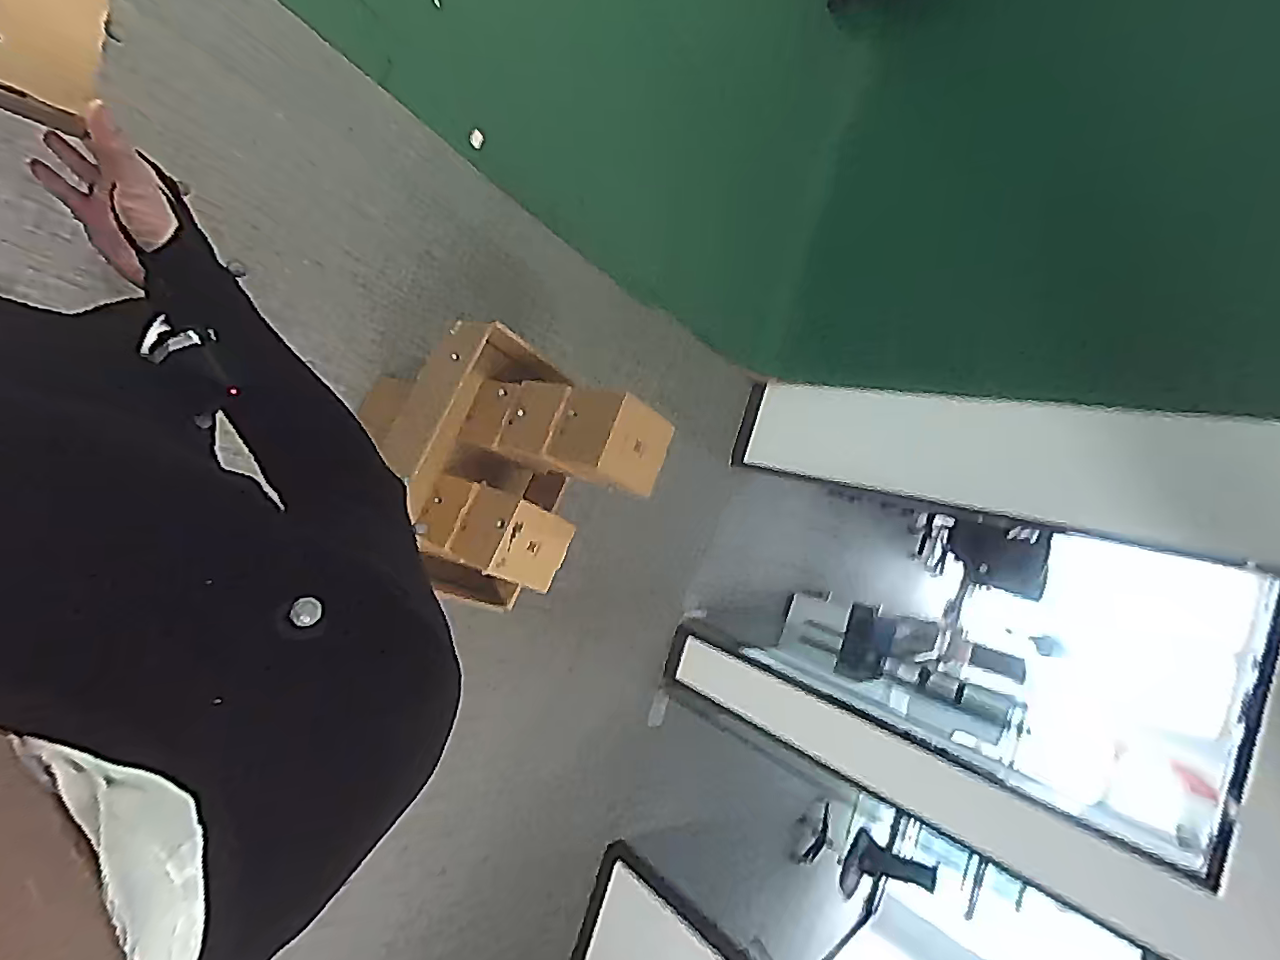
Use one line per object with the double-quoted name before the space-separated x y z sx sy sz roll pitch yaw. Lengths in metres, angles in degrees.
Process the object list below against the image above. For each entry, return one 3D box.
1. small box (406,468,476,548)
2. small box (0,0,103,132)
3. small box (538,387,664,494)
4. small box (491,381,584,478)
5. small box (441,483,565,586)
"small box" -0.437 0.083 1.333 0.179 0.176 0.168 32 77 -47
"small box" -0.478 -0.363 0.359 0.168 0.176 0.179 5 108 -51
"small box" -0.085 -0.089 1.166 0.179 0.176 0.168 31 78 -49
"small box" -0.212 -0.121 1.264 0.179 0.176 0.168 28 80 -49
"small box" -0.312 0.120 1.233 0.179 0.176 0.168 36 75 -47
